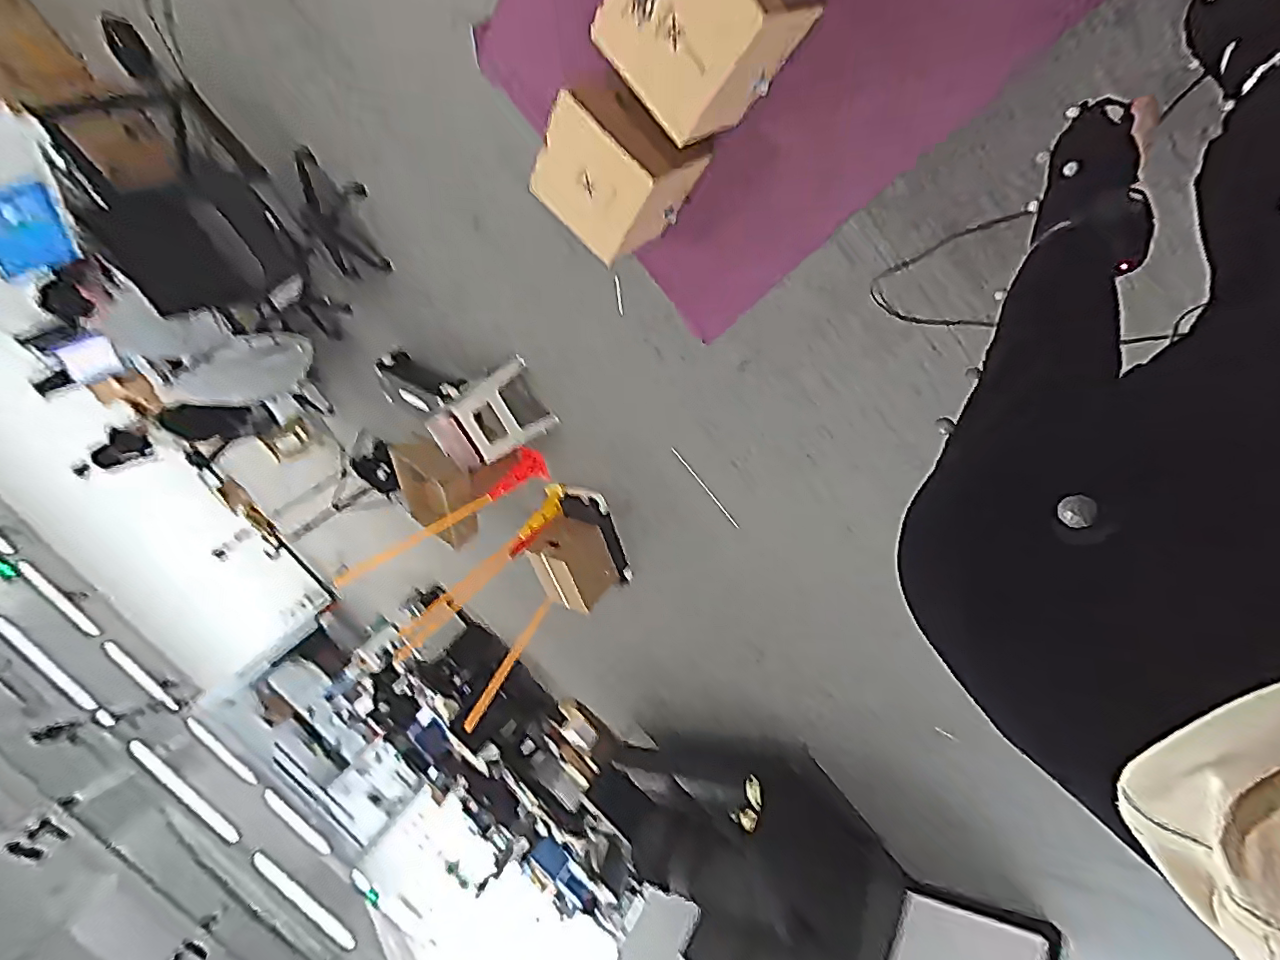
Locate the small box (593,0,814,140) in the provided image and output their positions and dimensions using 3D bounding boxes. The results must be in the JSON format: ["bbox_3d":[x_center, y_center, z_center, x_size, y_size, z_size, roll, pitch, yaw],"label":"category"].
[{"bbox_3d":[0.080,-0.575,0.674,0.179,0.176,0.168,48,145,-7],"label":"small box"}]

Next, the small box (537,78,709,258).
[{"bbox_3d":[-0.027,-0.498,0.860,0.179,0.176,0.168,46,145,-3],"label":"small box"}]
